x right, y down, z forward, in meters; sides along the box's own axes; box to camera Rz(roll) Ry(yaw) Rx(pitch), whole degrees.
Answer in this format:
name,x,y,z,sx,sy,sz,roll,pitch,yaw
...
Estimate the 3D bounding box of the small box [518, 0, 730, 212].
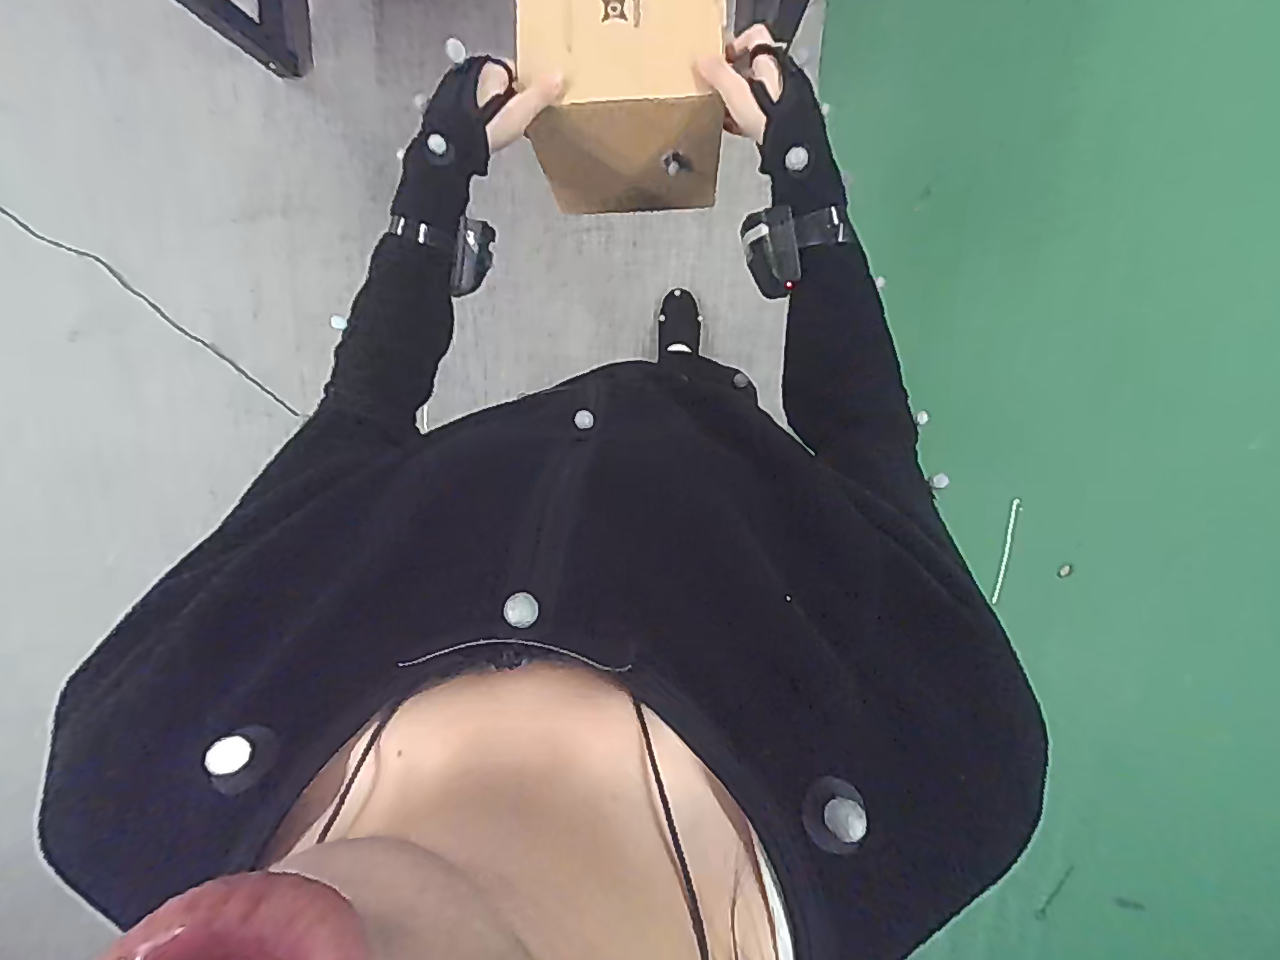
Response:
name,x,y,z,sx,sy,sz,roll,pitch,yaw
small box,-0.009,-0.384,0.525,0.179,0.176,0.168,0,87,5
